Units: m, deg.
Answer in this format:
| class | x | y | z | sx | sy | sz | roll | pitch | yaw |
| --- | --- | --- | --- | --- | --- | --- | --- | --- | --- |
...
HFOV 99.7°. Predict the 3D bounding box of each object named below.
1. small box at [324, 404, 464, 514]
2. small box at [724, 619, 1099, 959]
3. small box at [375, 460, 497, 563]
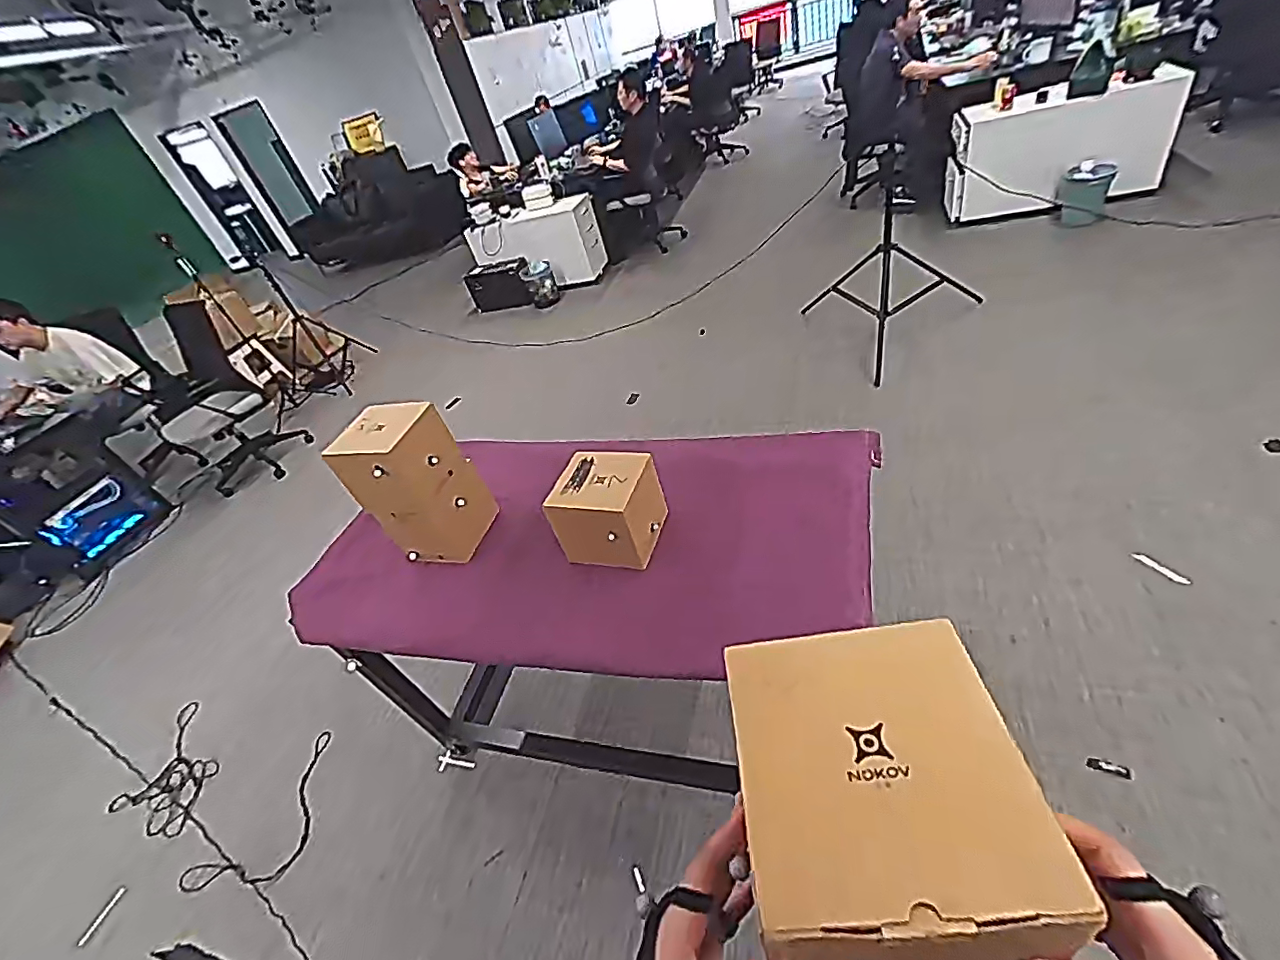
| class | x | y | z | sx | sy | sz | roll | pitch | yaw |
| --- | --- | --- | --- | --- | --- | --- | --- | --- | --- |
| small box | -0.505 | -0.042 | 1.140 | 0.179 | 0.176 | 0.168 | -1 | 42 | 20 |
| small box | 0.158 | 0.228 | 0.382 | 0.168 | 0.176 | 0.179 | -10 | 37 | 8 |
| small box | -0.459 | 0.074 | 1.249 | 0.168 | 0.176 | 0.179 | 0 | 42 | 21 |
